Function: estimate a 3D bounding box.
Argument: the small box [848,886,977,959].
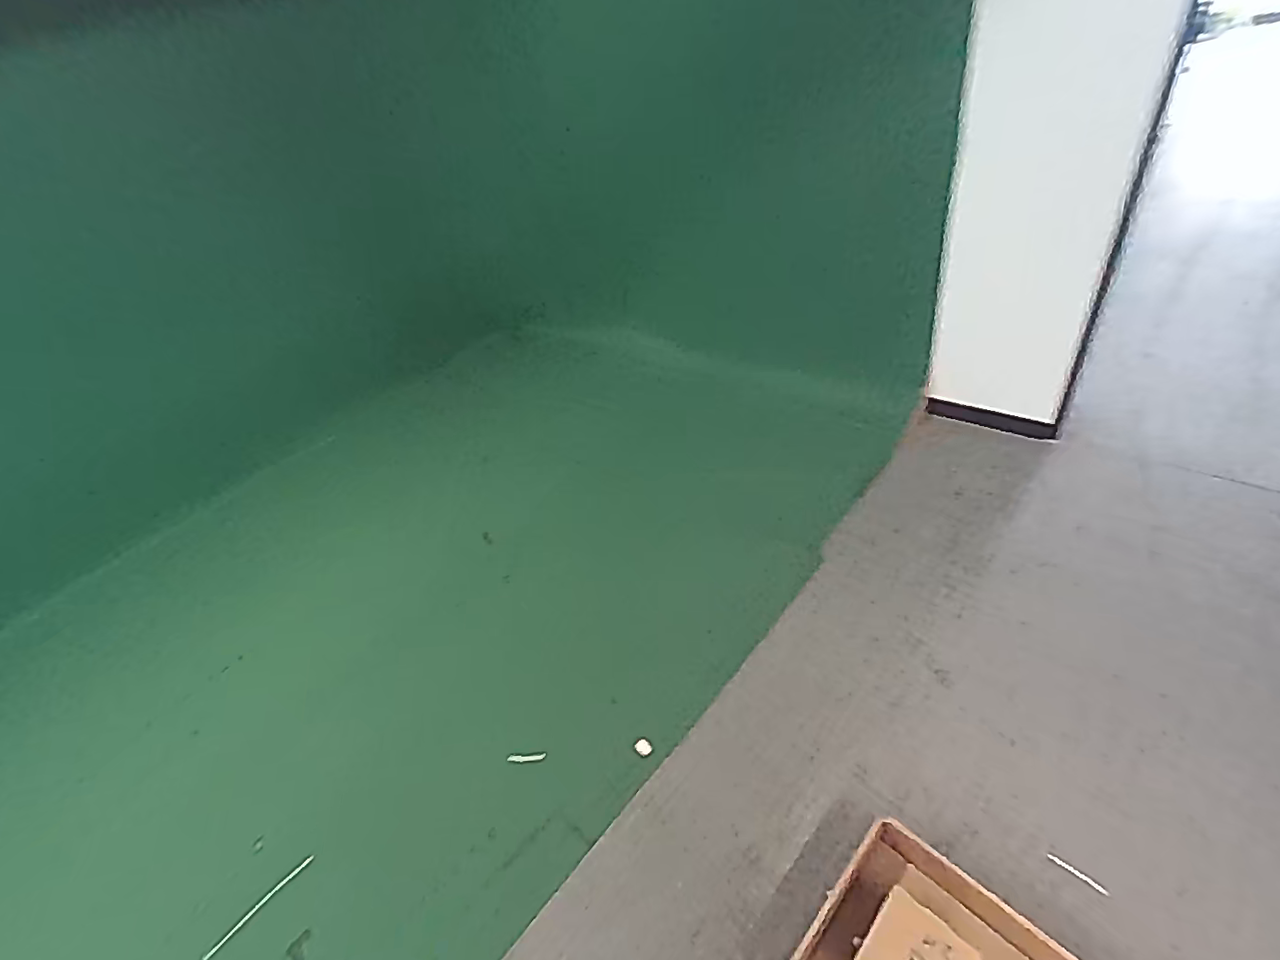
[{"bbox_3d":[0.516,0.945,1.044,0.179,0.176,0.168,-40,46,-25],"label":"small box"}]
